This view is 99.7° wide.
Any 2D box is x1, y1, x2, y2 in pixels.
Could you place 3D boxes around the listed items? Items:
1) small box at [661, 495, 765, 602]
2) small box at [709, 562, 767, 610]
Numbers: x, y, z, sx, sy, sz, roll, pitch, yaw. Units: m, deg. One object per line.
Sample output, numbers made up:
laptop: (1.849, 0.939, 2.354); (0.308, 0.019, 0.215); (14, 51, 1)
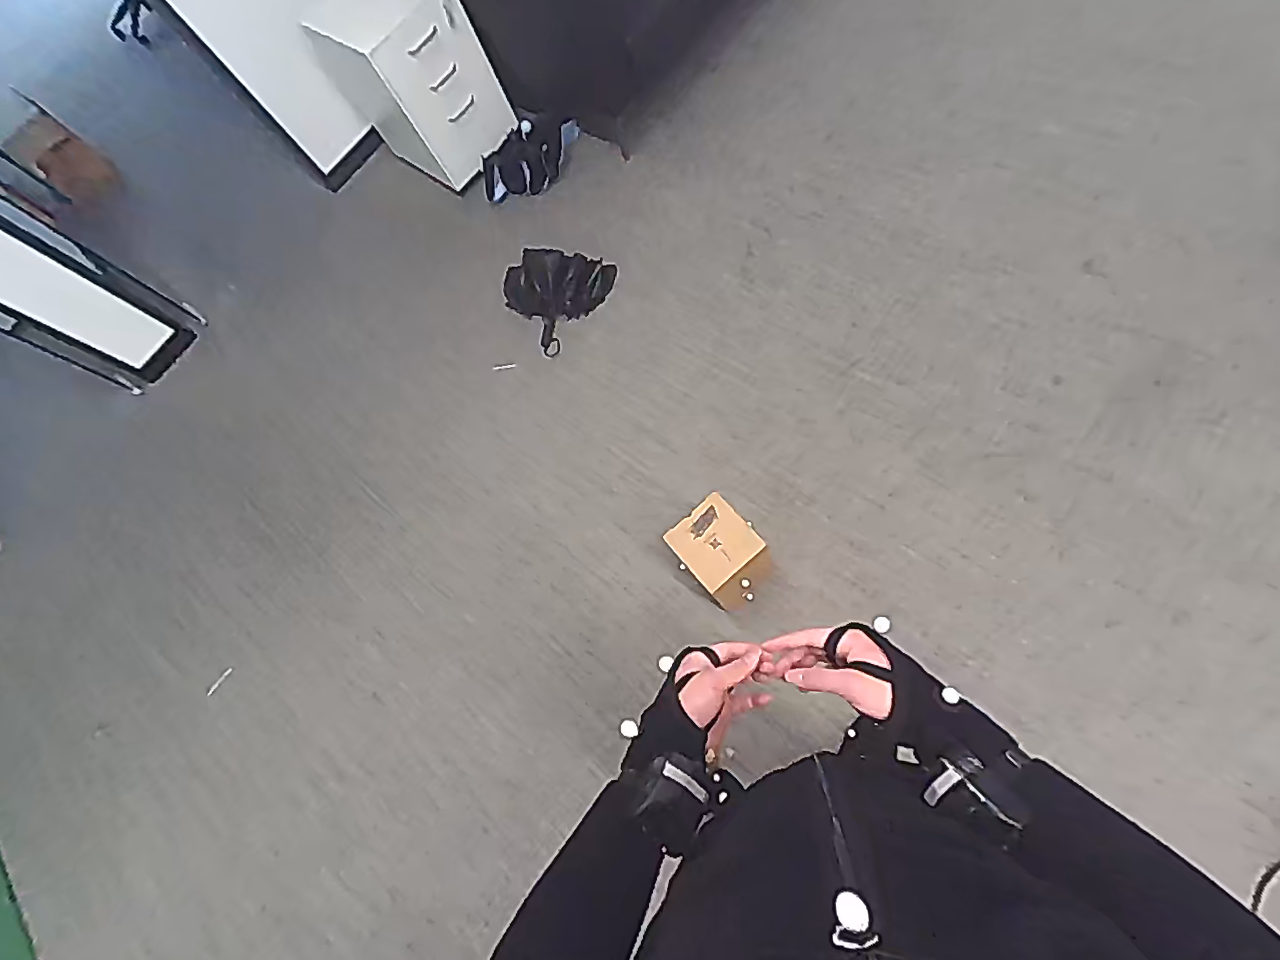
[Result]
small box: (0.179, 0.170, 1.289); (0.168, 0.176, 0.179); (-40, 66, -1)
small box: (0.218, 0.226, 1.438); (0.168, 0.176, 0.179); (-41, 66, -2)
